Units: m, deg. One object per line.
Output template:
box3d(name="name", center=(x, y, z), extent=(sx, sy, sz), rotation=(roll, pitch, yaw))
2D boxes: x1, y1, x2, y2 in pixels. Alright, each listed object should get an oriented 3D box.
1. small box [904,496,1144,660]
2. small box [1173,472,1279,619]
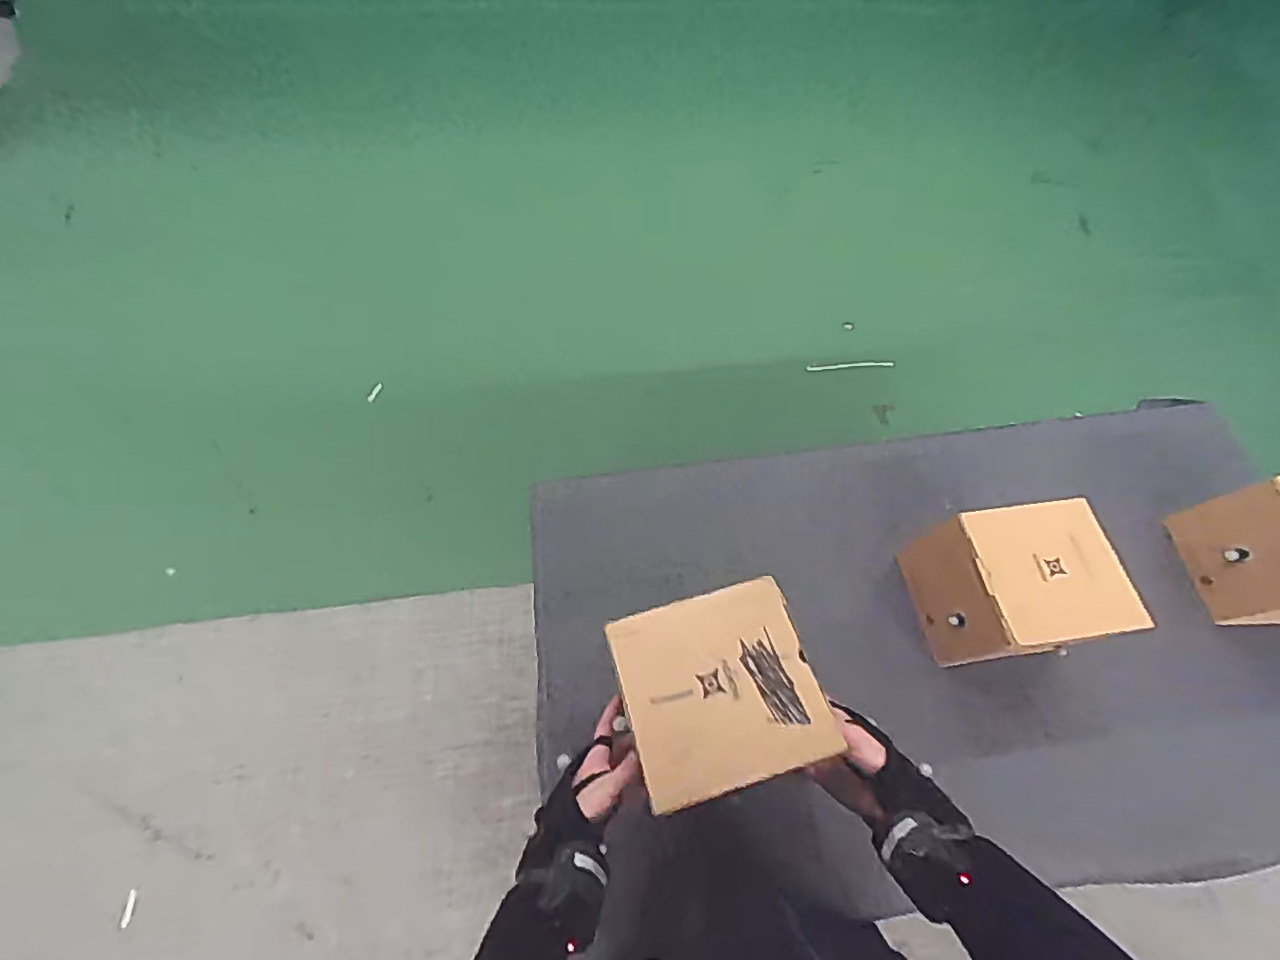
box3d(name="small box", center=(0.484, 0.137, 0.721), extent=(0.179, 0.176, 0.168), rotation=(-6, 66, -7))
box3d(name="small box", center=(0.917, 0.097, 0.758), extent=(0.179, 0.176, 0.168), rotation=(-1, 65, -3))
